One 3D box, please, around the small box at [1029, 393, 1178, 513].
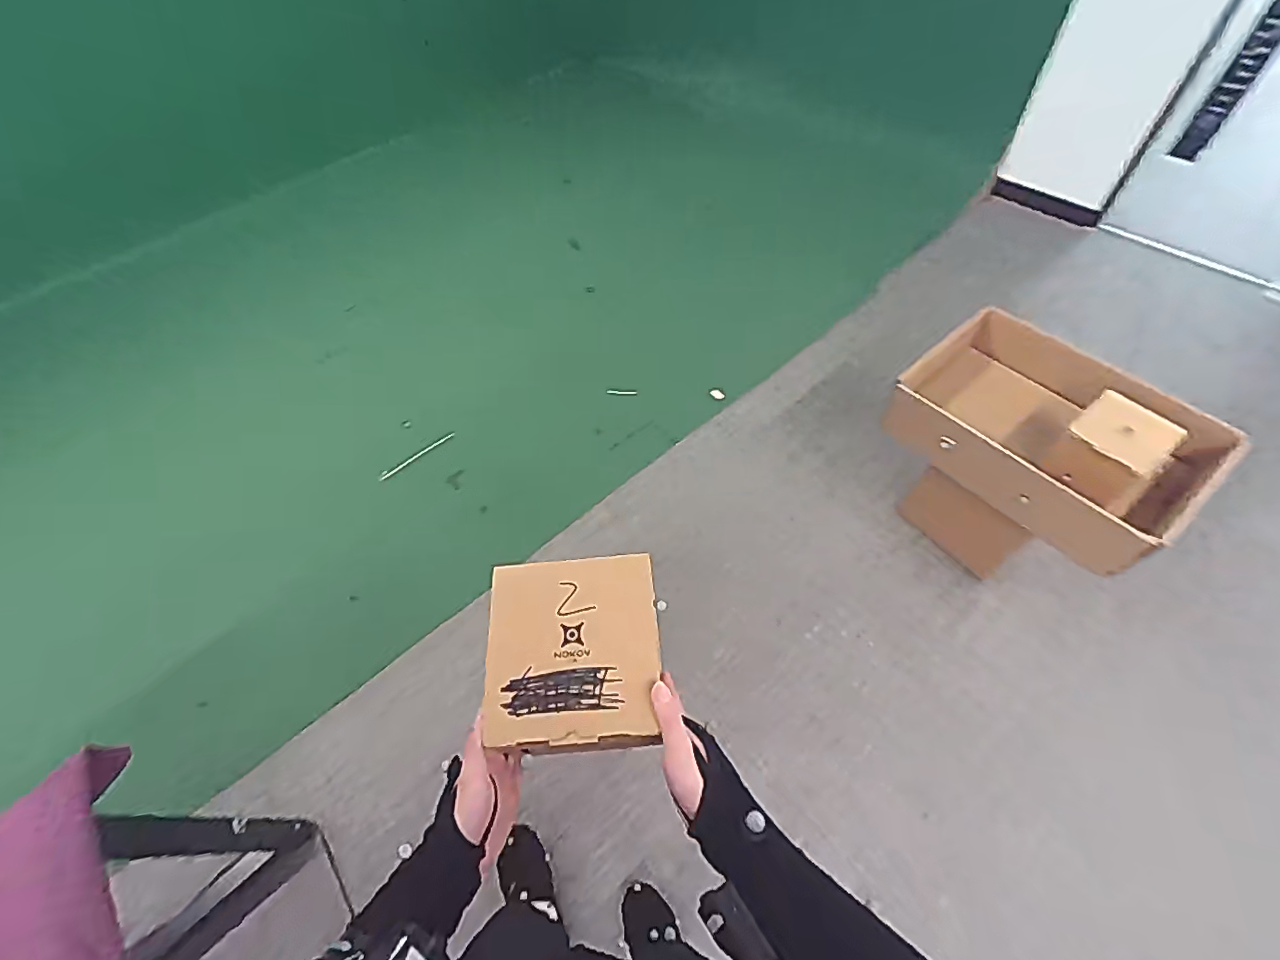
[{"bbox_3d":[1.046,-0.059,1.238,0.179,0.176,0.168,-36,61,-16],"label":"small box"}]
